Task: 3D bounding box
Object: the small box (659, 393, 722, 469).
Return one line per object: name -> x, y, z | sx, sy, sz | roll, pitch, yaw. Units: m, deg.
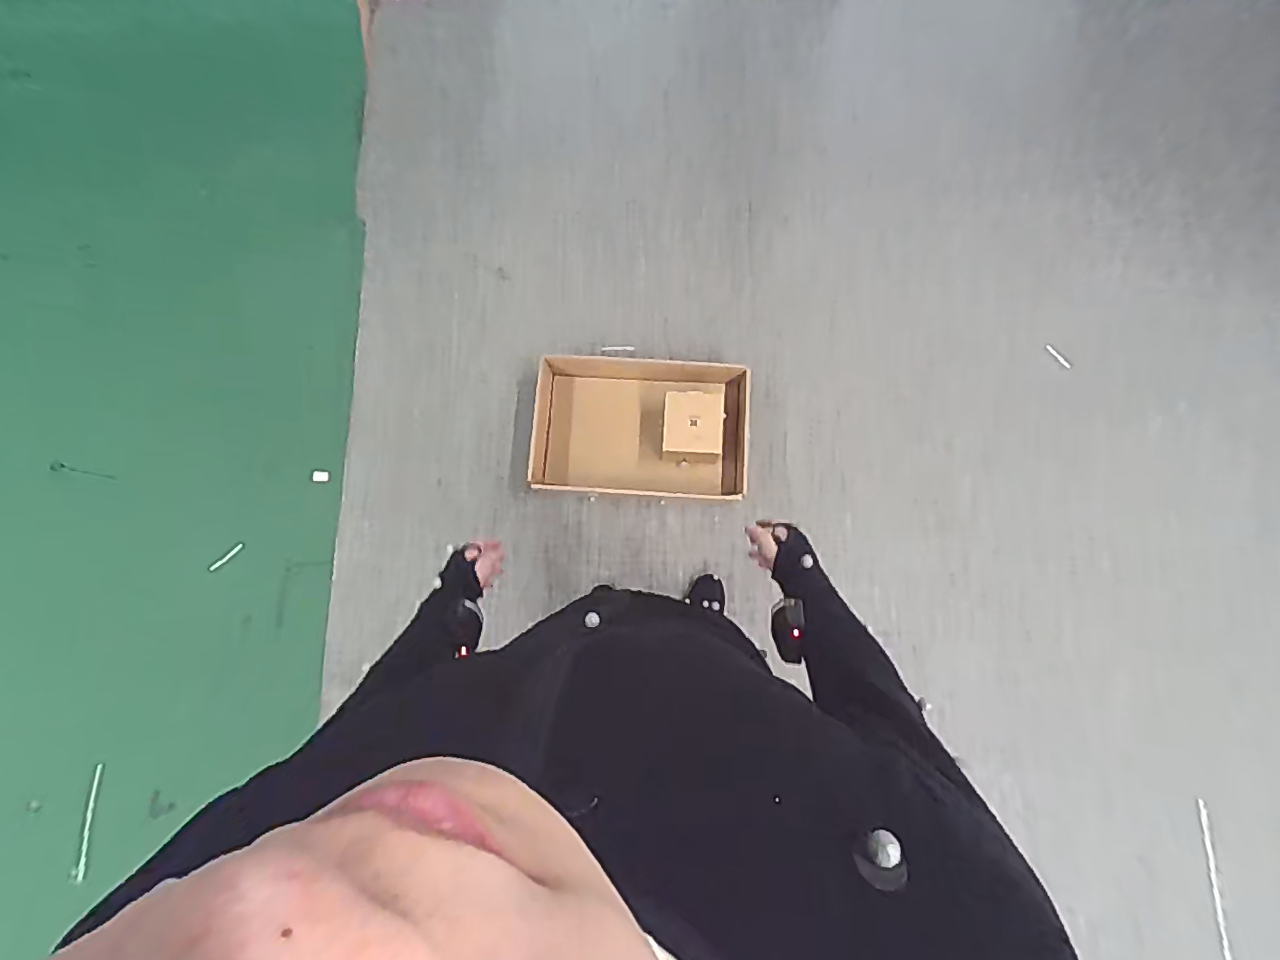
small box -> 0.143, -0.139, 1.576 | 0.168, 0.176, 0.179 | 3, 80, 3
